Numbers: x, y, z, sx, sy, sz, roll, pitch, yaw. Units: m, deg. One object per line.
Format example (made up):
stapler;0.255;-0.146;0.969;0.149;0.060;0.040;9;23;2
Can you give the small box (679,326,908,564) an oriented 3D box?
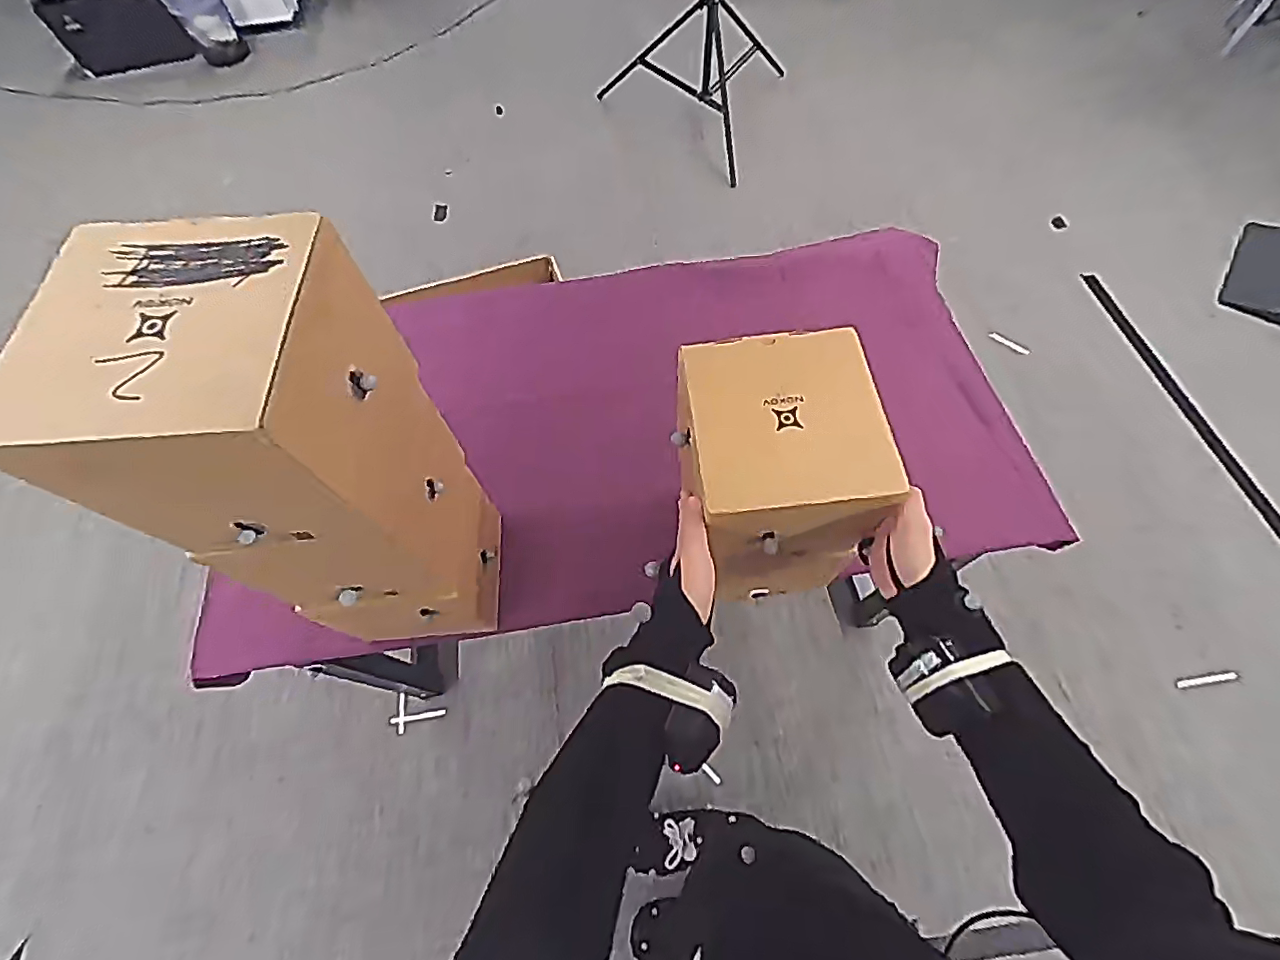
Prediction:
small box;0.130;-0.022;0.536;0.168;0.176;0.179;-6;63;0

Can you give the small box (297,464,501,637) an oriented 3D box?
small box;-0.282;0.095;0.681;0.179;0.176;0.168;-5;63;0

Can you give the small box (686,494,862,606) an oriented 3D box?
small box;0.153;0.047;0.690;0.168;0.176;0.179;-9;64;-1

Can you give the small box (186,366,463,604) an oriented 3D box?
small box;-0.285;0.012;0.539;0.168;0.176;0.179;-6;64;-1
